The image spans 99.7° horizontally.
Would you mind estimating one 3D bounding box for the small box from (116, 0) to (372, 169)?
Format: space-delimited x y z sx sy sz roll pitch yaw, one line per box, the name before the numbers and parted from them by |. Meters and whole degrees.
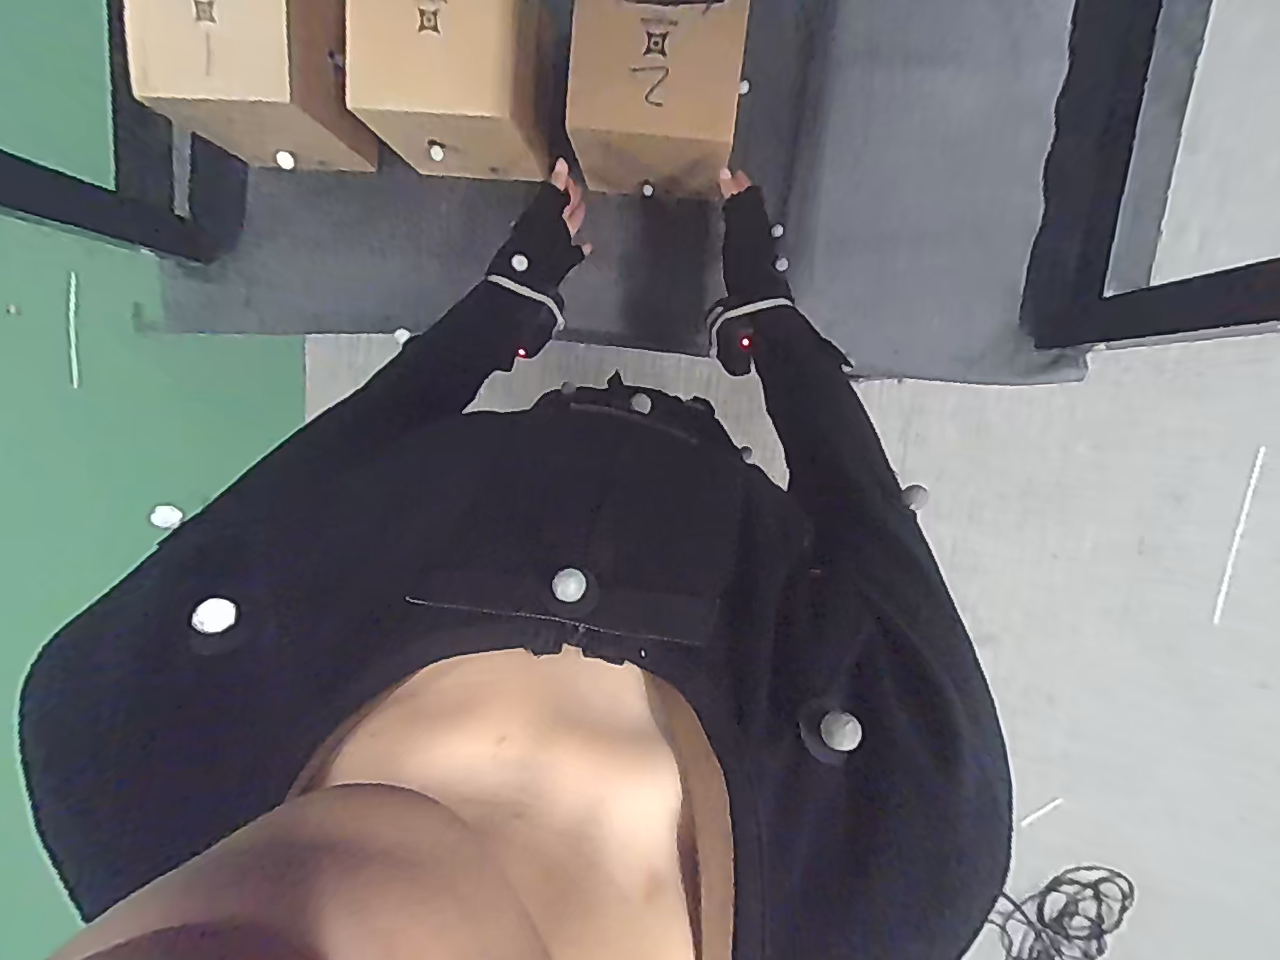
small box | -0.419 -0.476 0.598 0.168 0.176 0.179 4 99 2
